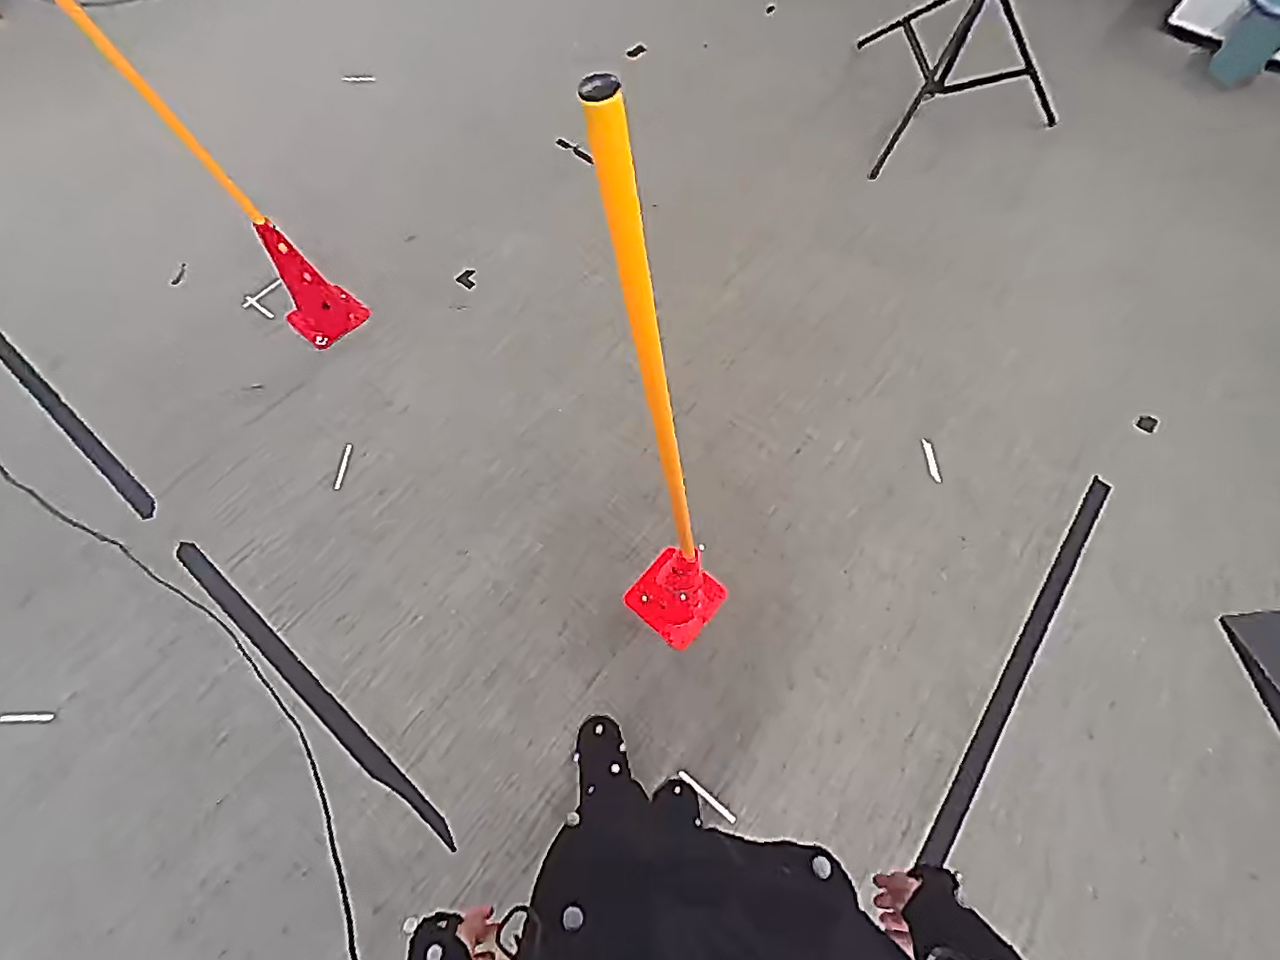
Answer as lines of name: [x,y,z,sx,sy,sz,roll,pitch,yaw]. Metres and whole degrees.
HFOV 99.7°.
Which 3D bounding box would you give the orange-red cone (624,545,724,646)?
orange-red cone: [0.090,0.215,1.202,0.199,0.360,0.198,40,71,15]
